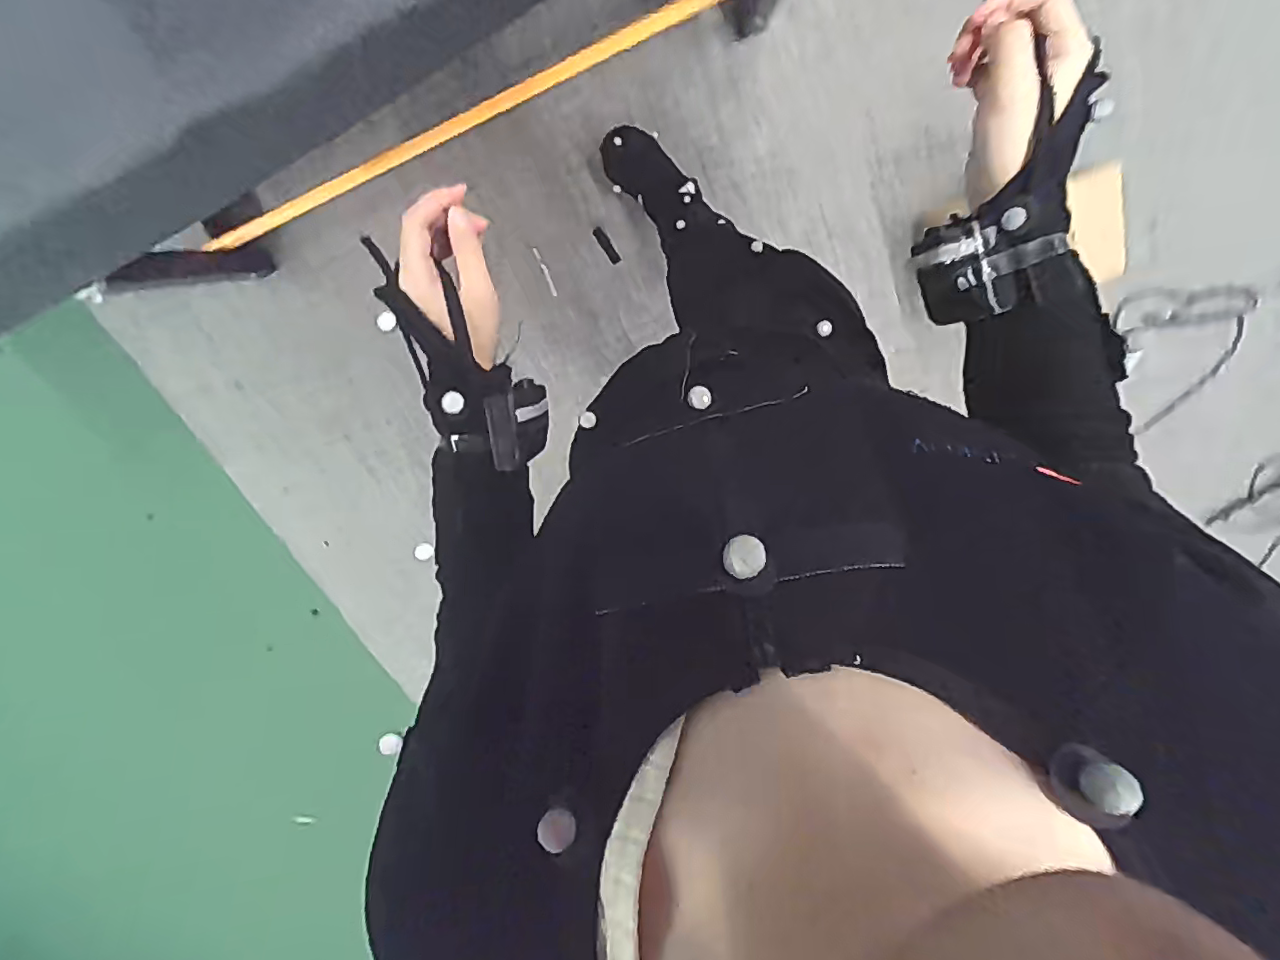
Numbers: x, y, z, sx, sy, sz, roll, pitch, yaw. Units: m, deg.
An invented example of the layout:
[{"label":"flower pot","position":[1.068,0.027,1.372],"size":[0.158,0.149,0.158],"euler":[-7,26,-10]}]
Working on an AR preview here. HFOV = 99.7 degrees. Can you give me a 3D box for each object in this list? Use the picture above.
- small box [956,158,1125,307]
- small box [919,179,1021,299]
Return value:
[{"label":"small box","position":[0.684,-0.423,0.939],"size":[0.168,0.176,0.179],"euler":[-22,111,9]},{"label":"small box","position":[0.690,-0.488,1.088],"size":[0.168,0.176,0.179],"euler":[-20,114,8]}]
